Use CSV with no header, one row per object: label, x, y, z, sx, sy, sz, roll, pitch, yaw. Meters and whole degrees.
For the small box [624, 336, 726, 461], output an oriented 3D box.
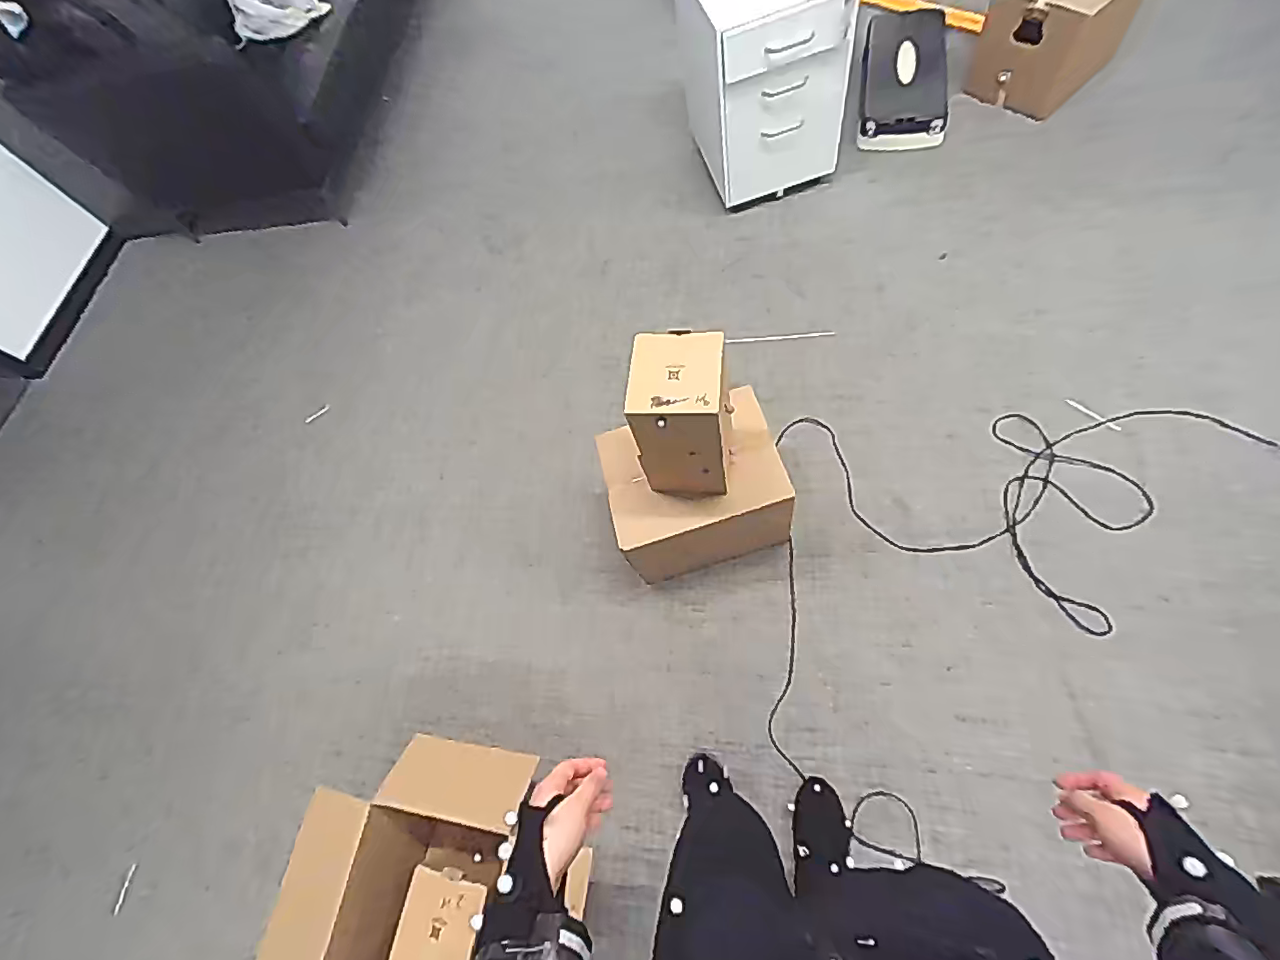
small box,0.076,-0.154,1.042,0.168,0.176,0.179,1,64,14
